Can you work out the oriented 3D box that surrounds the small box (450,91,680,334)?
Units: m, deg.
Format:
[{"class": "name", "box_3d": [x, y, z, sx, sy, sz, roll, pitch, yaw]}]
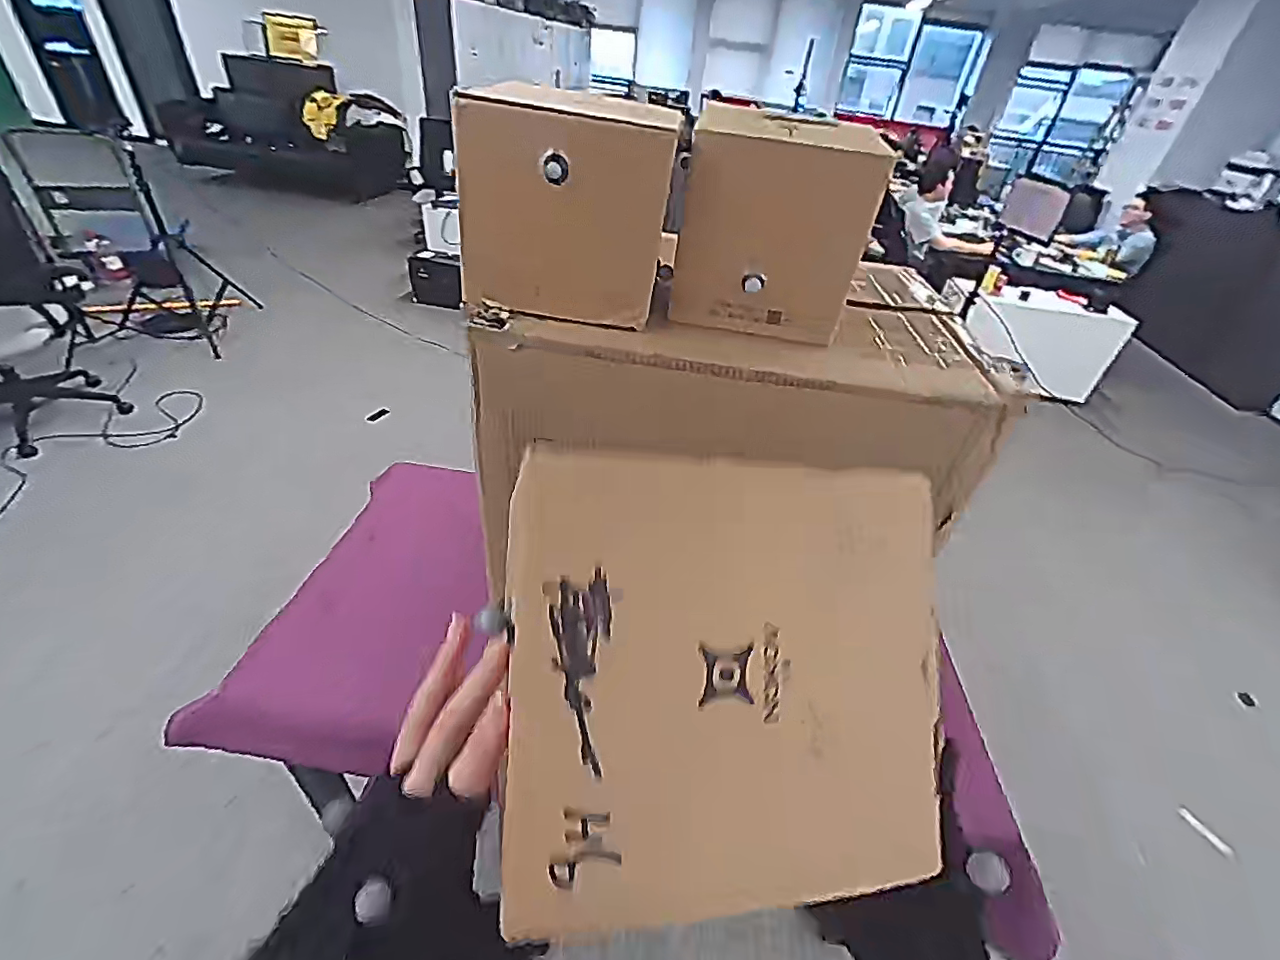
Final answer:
[{"class": "small box", "box_3d": [-0.064, -0.256, 0.520, 0.179, 0.176, 0.168, 10, 38, -1]}]

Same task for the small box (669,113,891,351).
[{"class": "small box", "box_3d": [0.126, -0.254, 0.550, 0.168, 0.176, 0.179, 10, 40, 4]}]

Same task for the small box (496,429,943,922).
[{"class": "small box", "box_3d": [0.021, 0.076, 0.282, 0.179, 0.176, 0.168, 3, 82, -14]}]
